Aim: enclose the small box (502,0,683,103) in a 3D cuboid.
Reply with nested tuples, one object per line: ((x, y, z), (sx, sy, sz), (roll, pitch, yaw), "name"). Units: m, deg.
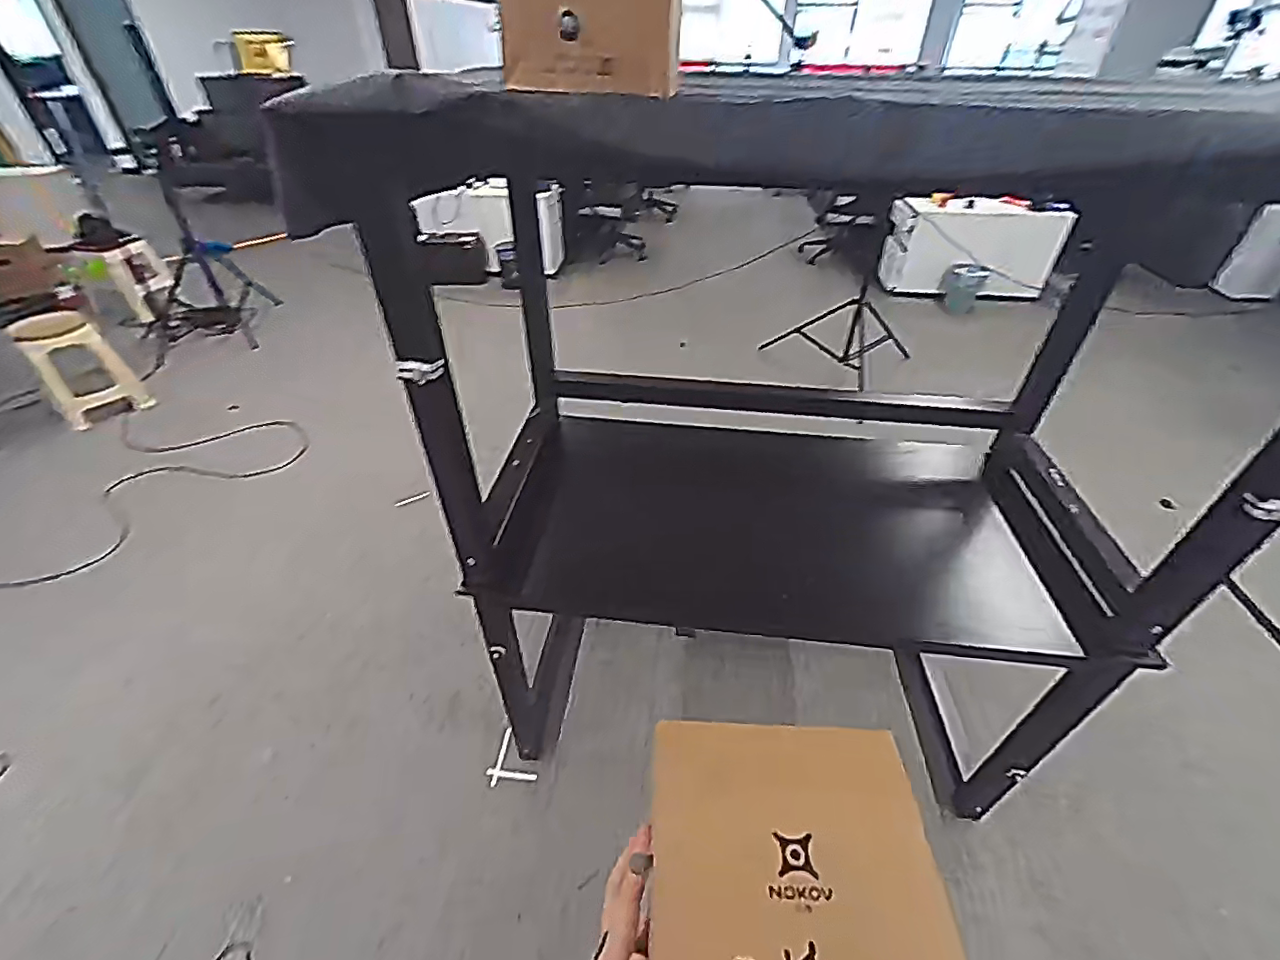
((-0.042, -0.495, 0.549), (0.168, 0.176, 0.179), (5, 38, 4), "small box")

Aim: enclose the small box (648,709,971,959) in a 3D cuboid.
((0.091, 0.282, 0.364), (0.168, 0.176, 0.179), (2, 40, 2), "small box")
